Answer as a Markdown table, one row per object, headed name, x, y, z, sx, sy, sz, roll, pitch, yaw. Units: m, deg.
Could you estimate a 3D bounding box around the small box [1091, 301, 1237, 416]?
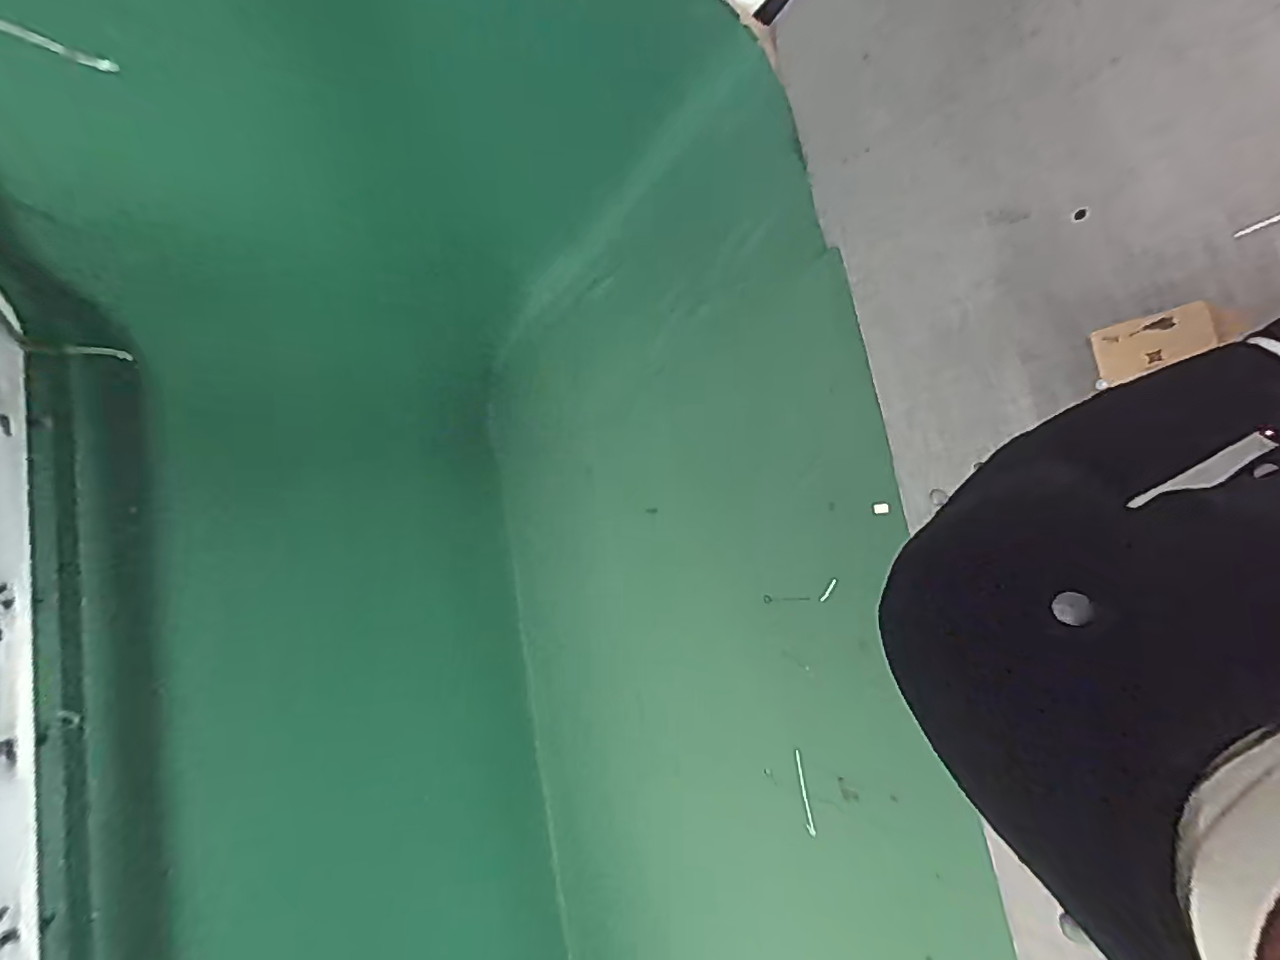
| name | x | y | z | sx | sy | sz | roll | pitch | yaw |
| --- | --- | --- | --- | --- | --- | --- | --- | --- | --- |
| small box | 1.010 | -0.227 | 1.042 | 0.168 | 0.176 | 0.179 | -12 | 86 | 53 |
